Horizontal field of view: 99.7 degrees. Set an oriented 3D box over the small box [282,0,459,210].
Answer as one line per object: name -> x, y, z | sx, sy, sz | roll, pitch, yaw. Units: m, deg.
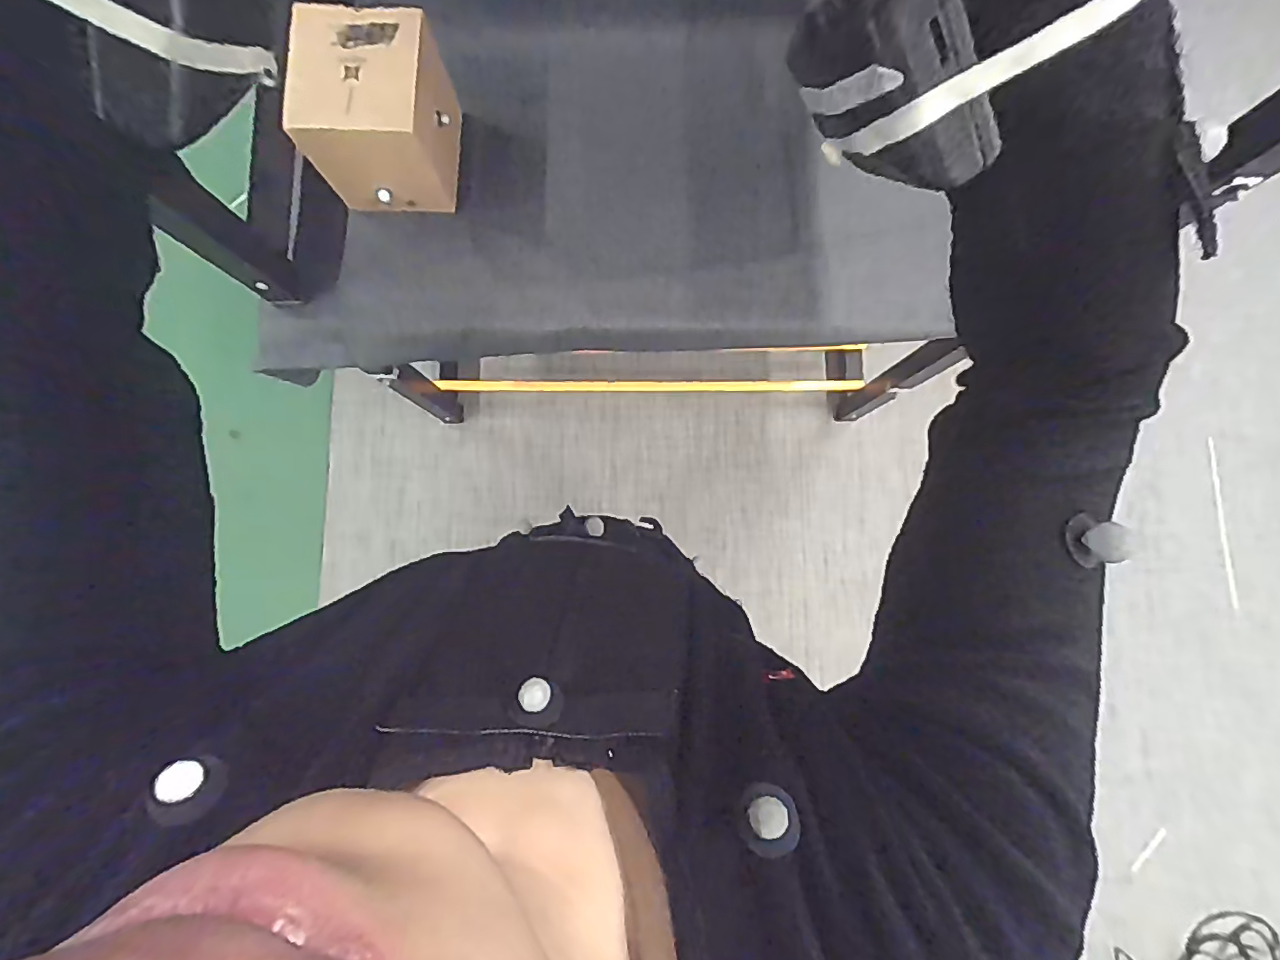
small box -> -0.362, -0.514, 0.760 | 0.168, 0.176, 0.179 | 1, 84, -1
